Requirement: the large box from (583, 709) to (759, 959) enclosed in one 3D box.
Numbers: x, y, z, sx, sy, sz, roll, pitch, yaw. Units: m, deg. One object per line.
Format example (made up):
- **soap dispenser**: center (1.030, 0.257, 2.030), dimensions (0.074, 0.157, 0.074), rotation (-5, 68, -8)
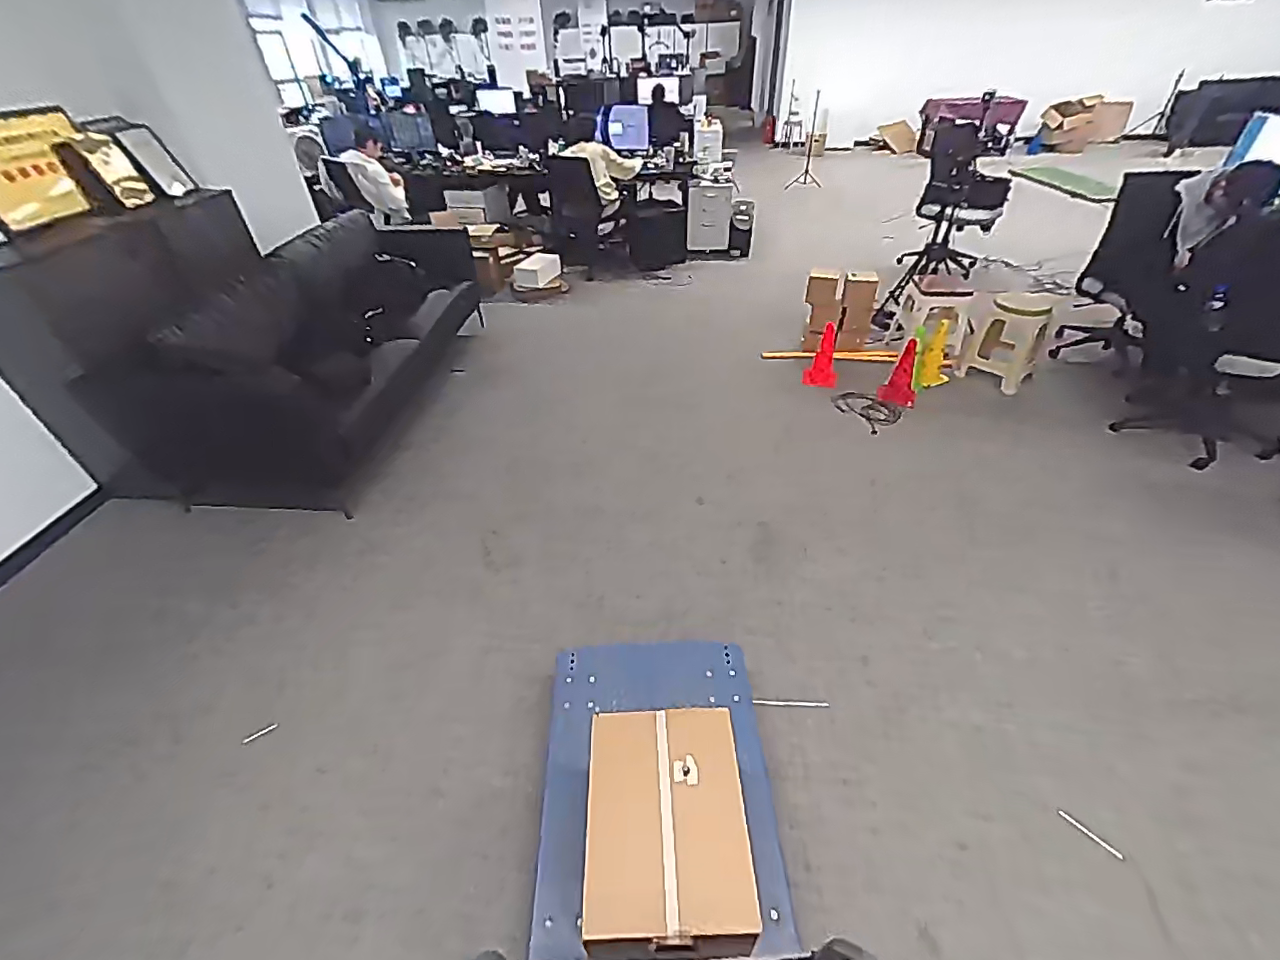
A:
- **large box**: center (0.054, 0.775, 1.177), dimensions (0.320, 0.320, 0.408), rotation (-2, 39, 0)
